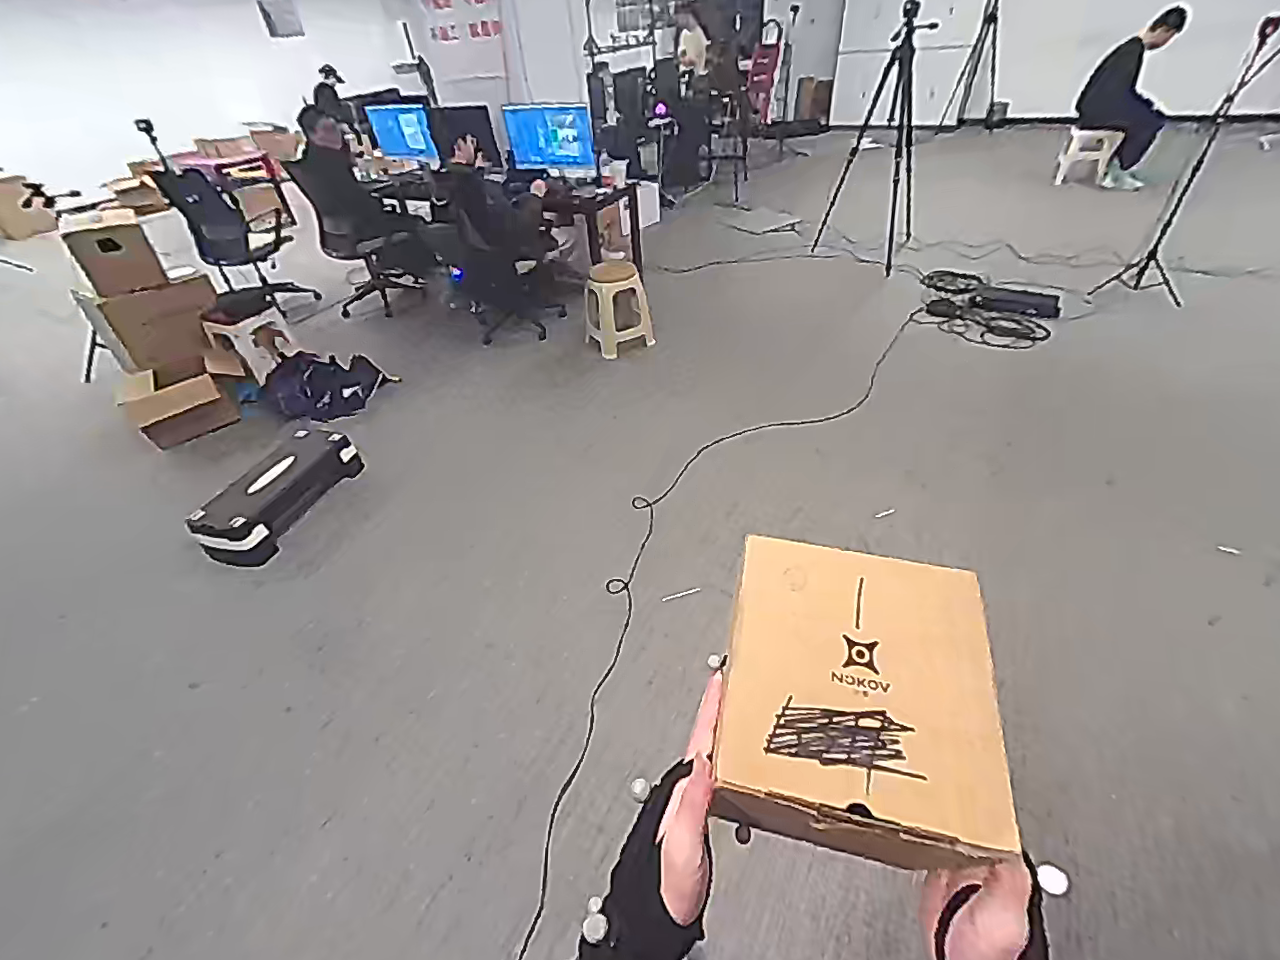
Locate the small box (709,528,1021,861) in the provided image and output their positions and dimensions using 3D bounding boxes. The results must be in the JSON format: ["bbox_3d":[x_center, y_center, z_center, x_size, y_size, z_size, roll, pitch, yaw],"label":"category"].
[{"bbox_3d":[0.146,0.164,0.408,0.168,0.176,0.179,10,54,11],"label":"small box"}]
